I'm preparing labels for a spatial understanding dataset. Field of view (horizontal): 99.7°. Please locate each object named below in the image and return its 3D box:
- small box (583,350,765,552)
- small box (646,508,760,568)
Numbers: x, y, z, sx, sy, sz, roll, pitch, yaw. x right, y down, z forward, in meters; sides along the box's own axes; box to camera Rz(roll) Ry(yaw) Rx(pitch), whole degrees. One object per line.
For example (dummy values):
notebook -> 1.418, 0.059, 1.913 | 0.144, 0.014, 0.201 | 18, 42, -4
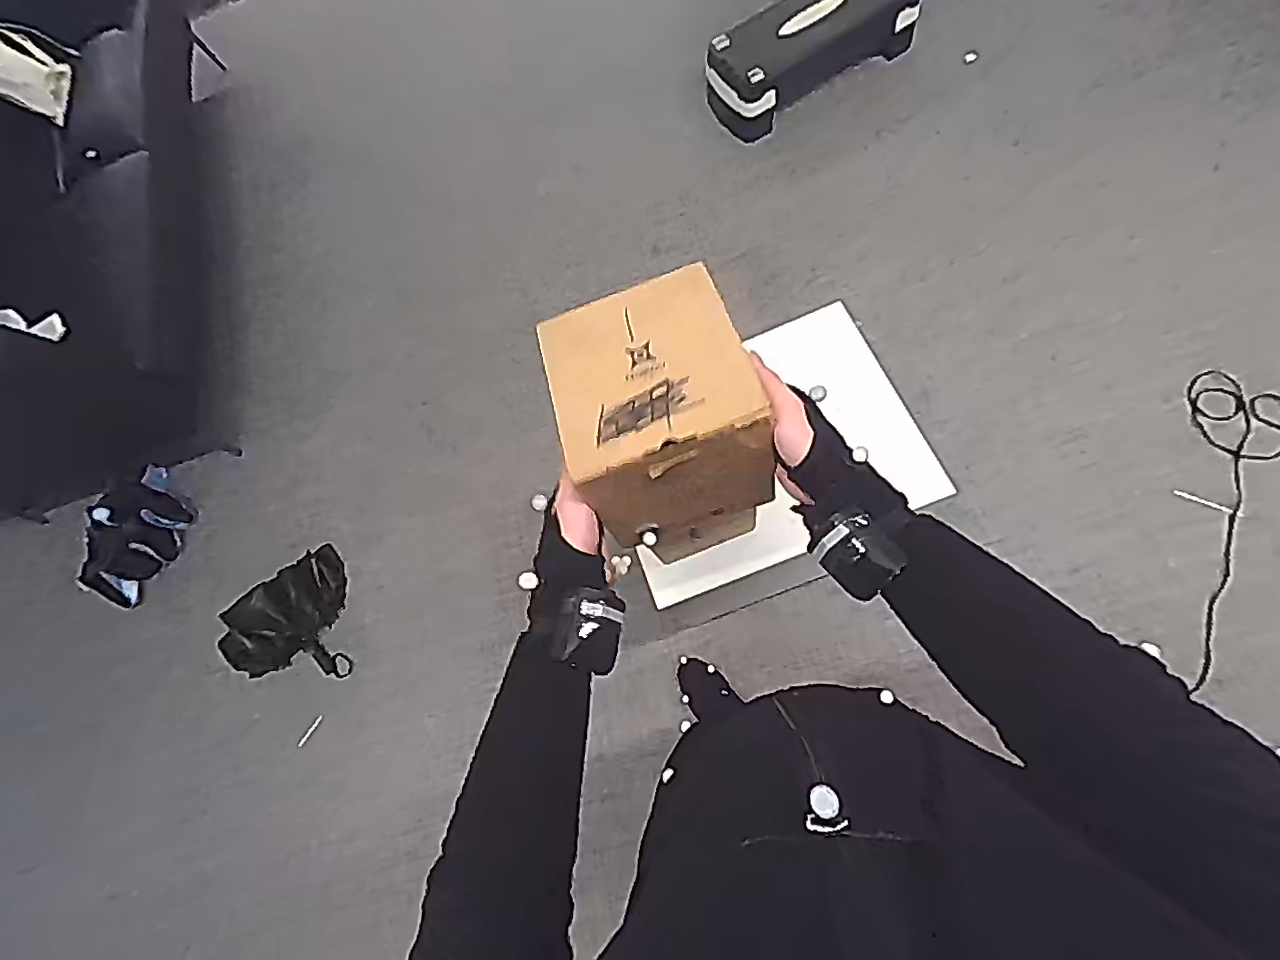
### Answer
small box -> 0.048, -0.027, 0.697 | 0.168, 0.176, 0.179 | -25, 69, 5
small box -> 0.078, 0.019, 0.849 | 0.168, 0.176, 0.179 | -22, 68, 4
